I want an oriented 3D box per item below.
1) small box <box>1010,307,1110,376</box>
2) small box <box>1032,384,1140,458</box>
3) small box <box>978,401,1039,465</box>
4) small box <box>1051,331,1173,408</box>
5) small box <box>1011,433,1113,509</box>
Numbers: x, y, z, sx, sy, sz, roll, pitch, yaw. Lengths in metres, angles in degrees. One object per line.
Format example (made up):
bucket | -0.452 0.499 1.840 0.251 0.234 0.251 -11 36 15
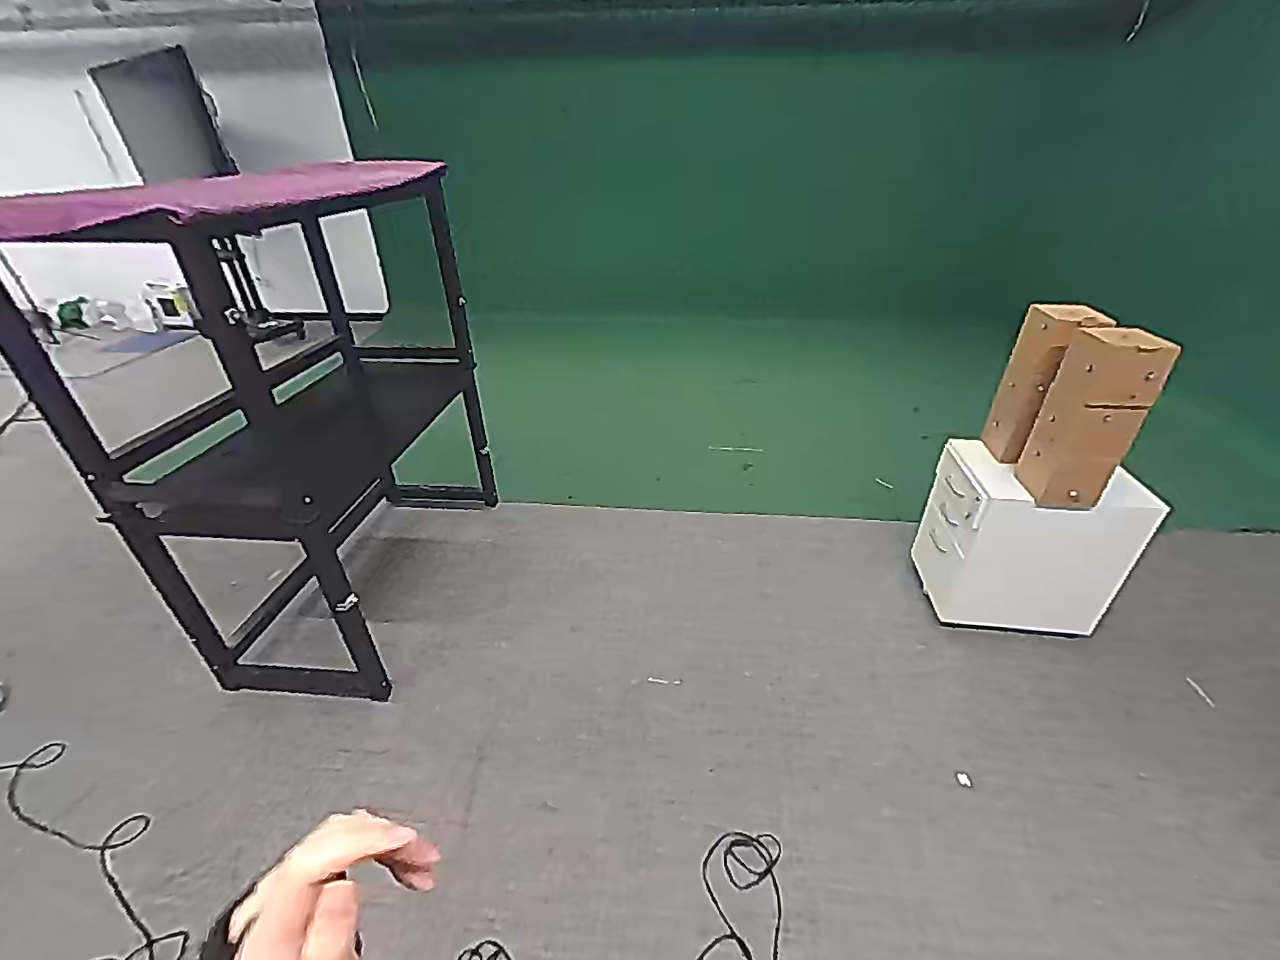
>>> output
small box | 1.318 -0.437 1.714 0.168 0.176 0.179 4 34 6
small box | 1.303 -0.174 1.601 0.179 0.176 0.168 2 32 4
small box | 1.319 -0.162 1.891 0.168 0.176 0.179 4 34 7
small box | 1.303 -0.308 1.508 0.168 0.176 0.179 3 31 6
small box | 1.300 -0.030 1.683 0.168 0.176 0.179 4 32 7
